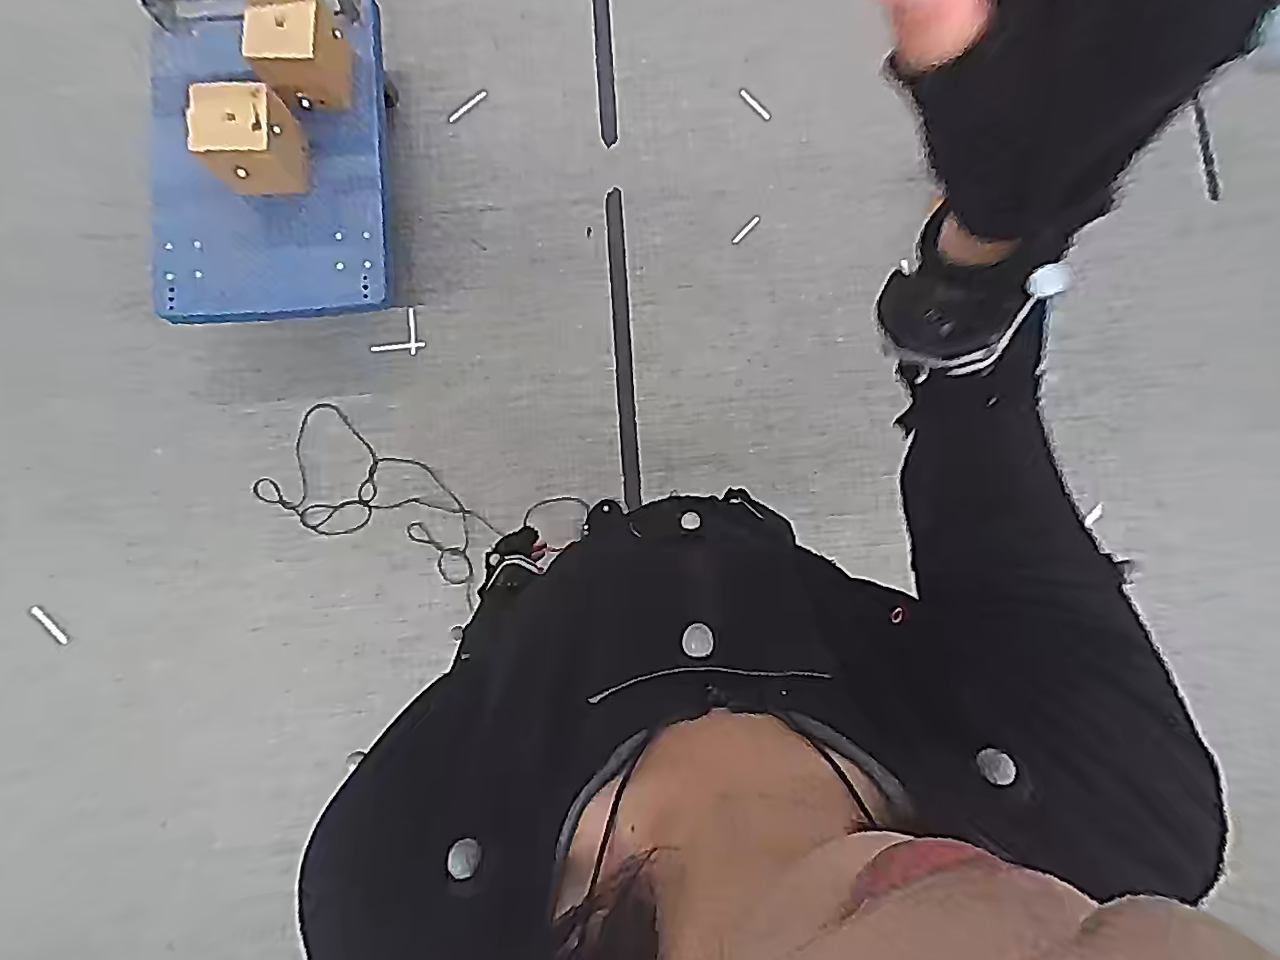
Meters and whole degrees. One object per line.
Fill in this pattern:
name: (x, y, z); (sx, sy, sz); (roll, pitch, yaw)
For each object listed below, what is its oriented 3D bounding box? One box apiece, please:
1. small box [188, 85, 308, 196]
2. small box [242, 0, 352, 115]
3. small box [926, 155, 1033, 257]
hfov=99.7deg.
small box: (-0.941, -0.813, 1.309); (0.179, 0.176, 0.168); (-3, 87, -1)
small box: (-0.836, -1.045, 1.333); (0.168, 0.176, 0.179); (0, 87, 0)
small box: (0.970, -0.786, 1.565); (0.168, 0.176, 0.179); (-23, 87, -3)
